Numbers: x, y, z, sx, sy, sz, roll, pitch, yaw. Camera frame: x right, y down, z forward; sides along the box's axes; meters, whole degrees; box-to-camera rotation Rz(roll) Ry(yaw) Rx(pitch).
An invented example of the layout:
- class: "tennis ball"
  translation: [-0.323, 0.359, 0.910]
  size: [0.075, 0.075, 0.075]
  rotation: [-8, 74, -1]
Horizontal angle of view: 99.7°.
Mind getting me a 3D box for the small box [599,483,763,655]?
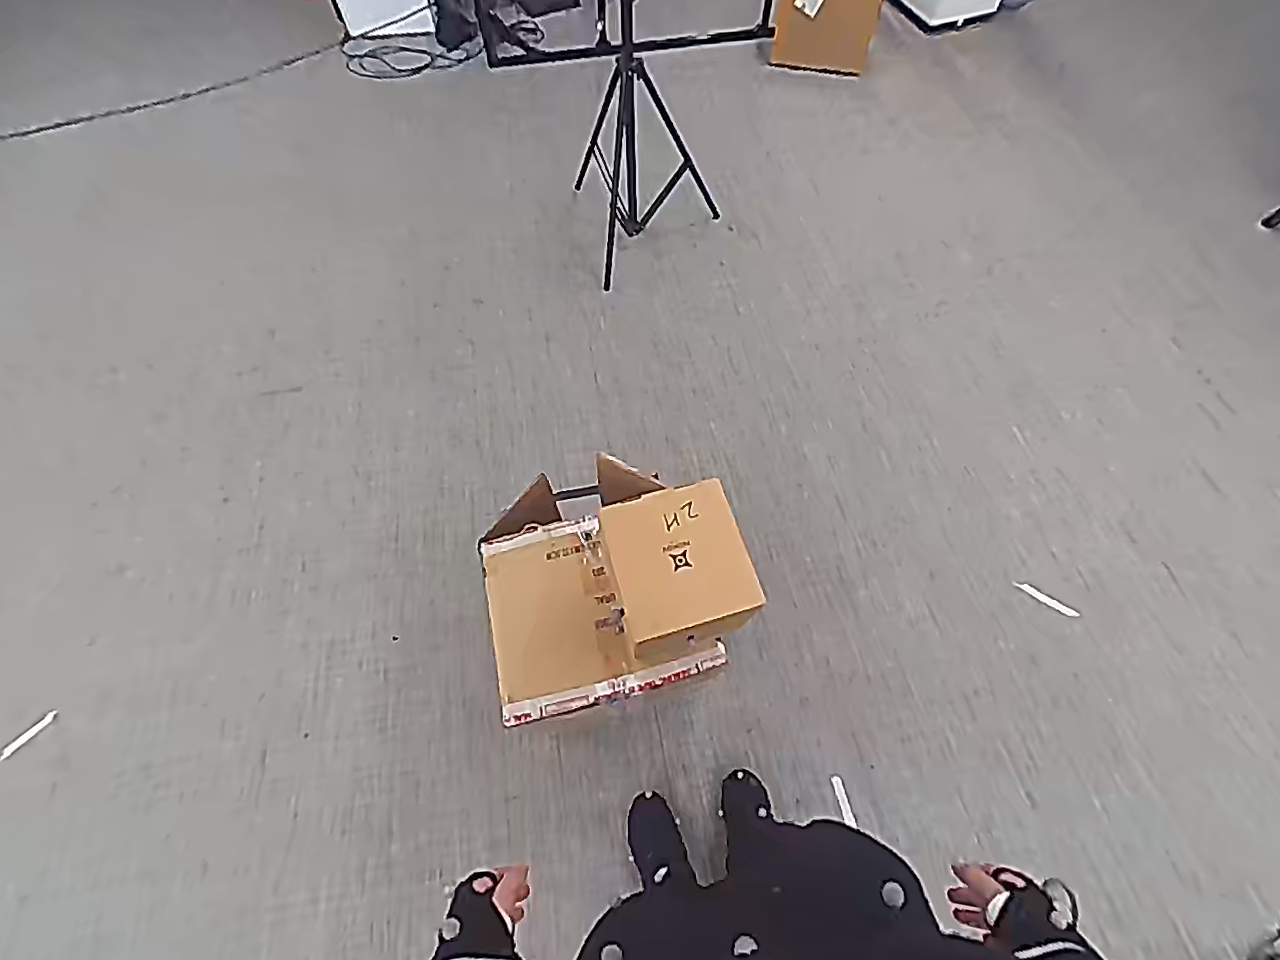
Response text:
- class: "small box"
  translation: [0.047, 0.130, 0.739]
  size: [0.168, 0.176, 0.179]
  rotation: [-14, 66, -9]
